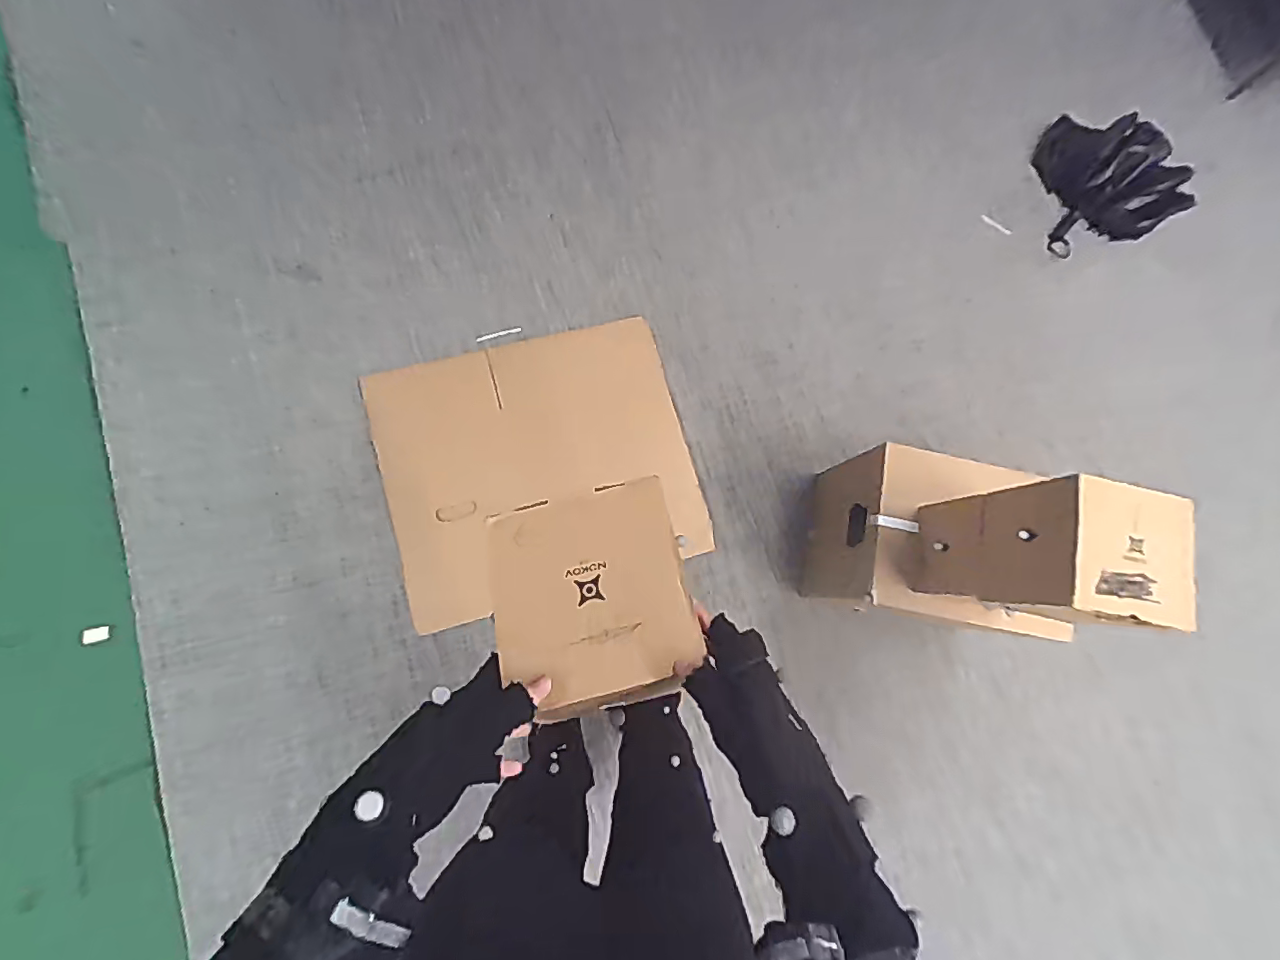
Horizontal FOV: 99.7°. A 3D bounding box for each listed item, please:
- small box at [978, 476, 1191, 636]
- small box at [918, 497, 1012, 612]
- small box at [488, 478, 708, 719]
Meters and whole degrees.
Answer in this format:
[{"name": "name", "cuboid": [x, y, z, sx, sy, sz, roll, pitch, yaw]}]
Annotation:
[{"name": "small box", "cuboid": [0.613, 0.110, 0.764, 0.168, 0.176, 0.179, 13, 77, -3]}, {"name": "small box", "cuboid": [0.603, 0.135, 0.930, 0.179, 0.176, 0.168, 7, 77, -5]}, {"name": "small box", "cuboid": [-0.037, 0.126, 0.540, 0.168, 0.176, 0.179, -15, 64, -1]}]
